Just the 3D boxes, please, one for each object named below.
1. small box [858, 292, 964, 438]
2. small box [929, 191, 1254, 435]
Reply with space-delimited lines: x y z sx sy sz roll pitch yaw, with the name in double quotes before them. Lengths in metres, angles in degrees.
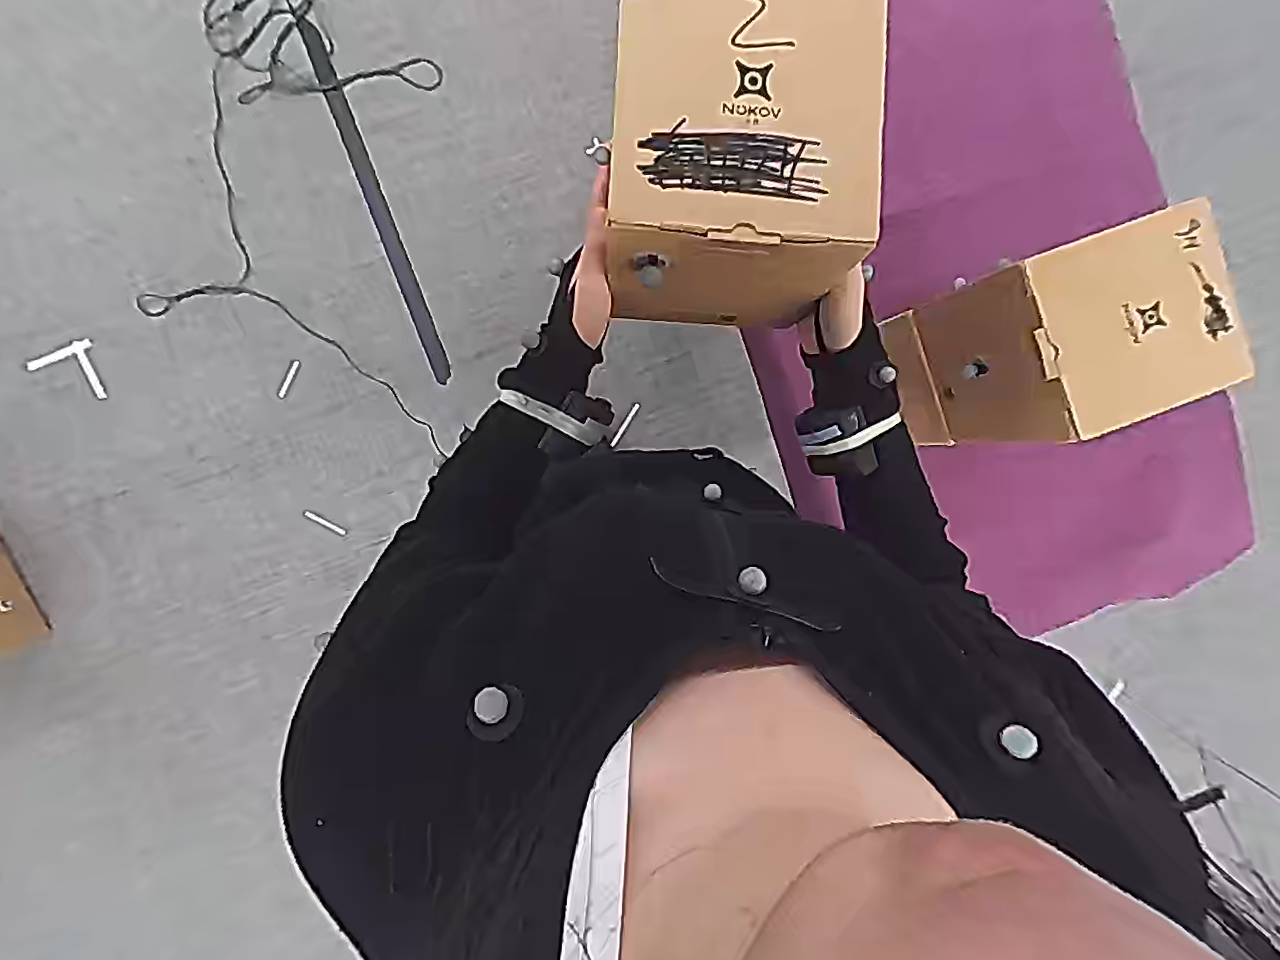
"small box" 0.410 -0.157 0.707 0.179 0.176 0.168 -21 95 -2
"small box" 0.424 -0.147 0.543 0.179 0.176 0.168 -20 95 -2
